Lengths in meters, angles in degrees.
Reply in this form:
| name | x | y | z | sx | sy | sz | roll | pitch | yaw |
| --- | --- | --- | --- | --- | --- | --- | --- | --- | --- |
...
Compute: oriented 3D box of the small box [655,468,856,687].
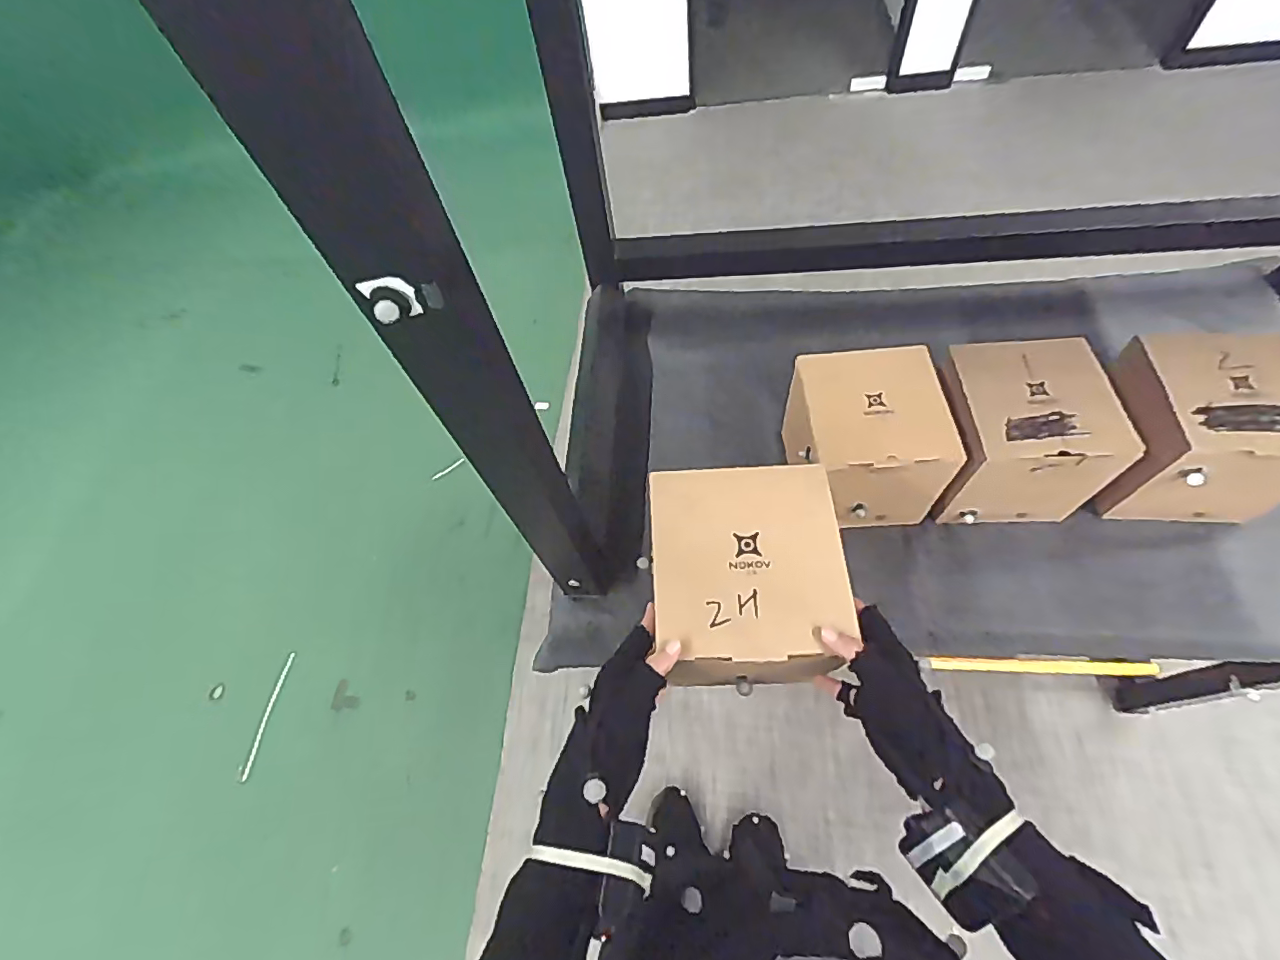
| name | x | y | z | sx | sy | sz | roll | pitch | yaw |
| --- | --- | --- | --- | --- | --- | --- | --- | --- | --- |
| small box | 0.100 | 0.106 | 0.556 | 0.168 | 0.176 | 0.179 | -3 | 61 | 3 |
